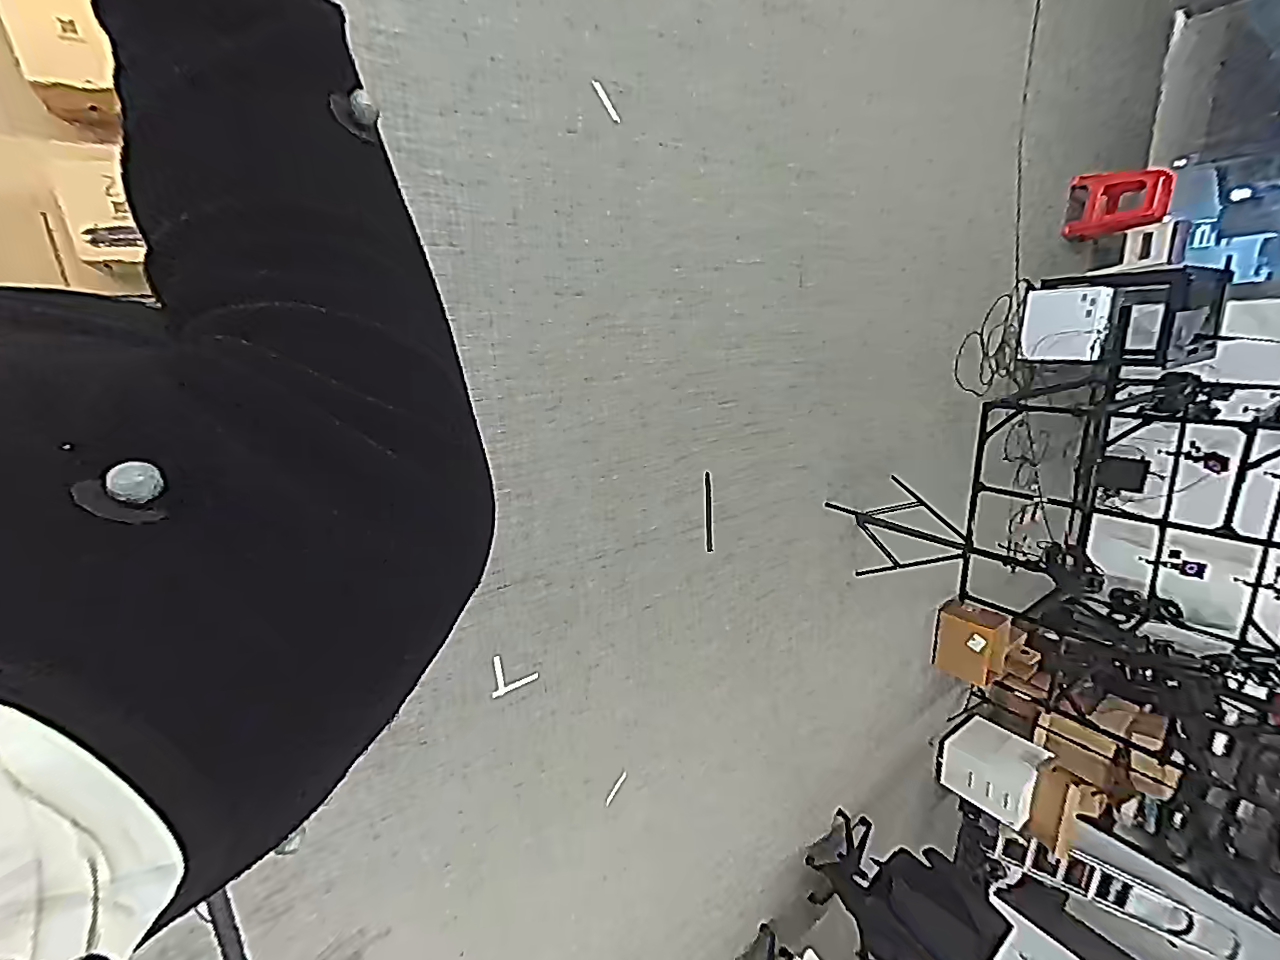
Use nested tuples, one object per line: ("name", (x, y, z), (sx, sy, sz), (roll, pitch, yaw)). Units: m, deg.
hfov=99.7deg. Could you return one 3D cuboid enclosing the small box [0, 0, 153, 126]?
("small box", (-1.050, -0.792, 1.006), (0.168, 0.176, 0.179), (-19, 111, -31))
